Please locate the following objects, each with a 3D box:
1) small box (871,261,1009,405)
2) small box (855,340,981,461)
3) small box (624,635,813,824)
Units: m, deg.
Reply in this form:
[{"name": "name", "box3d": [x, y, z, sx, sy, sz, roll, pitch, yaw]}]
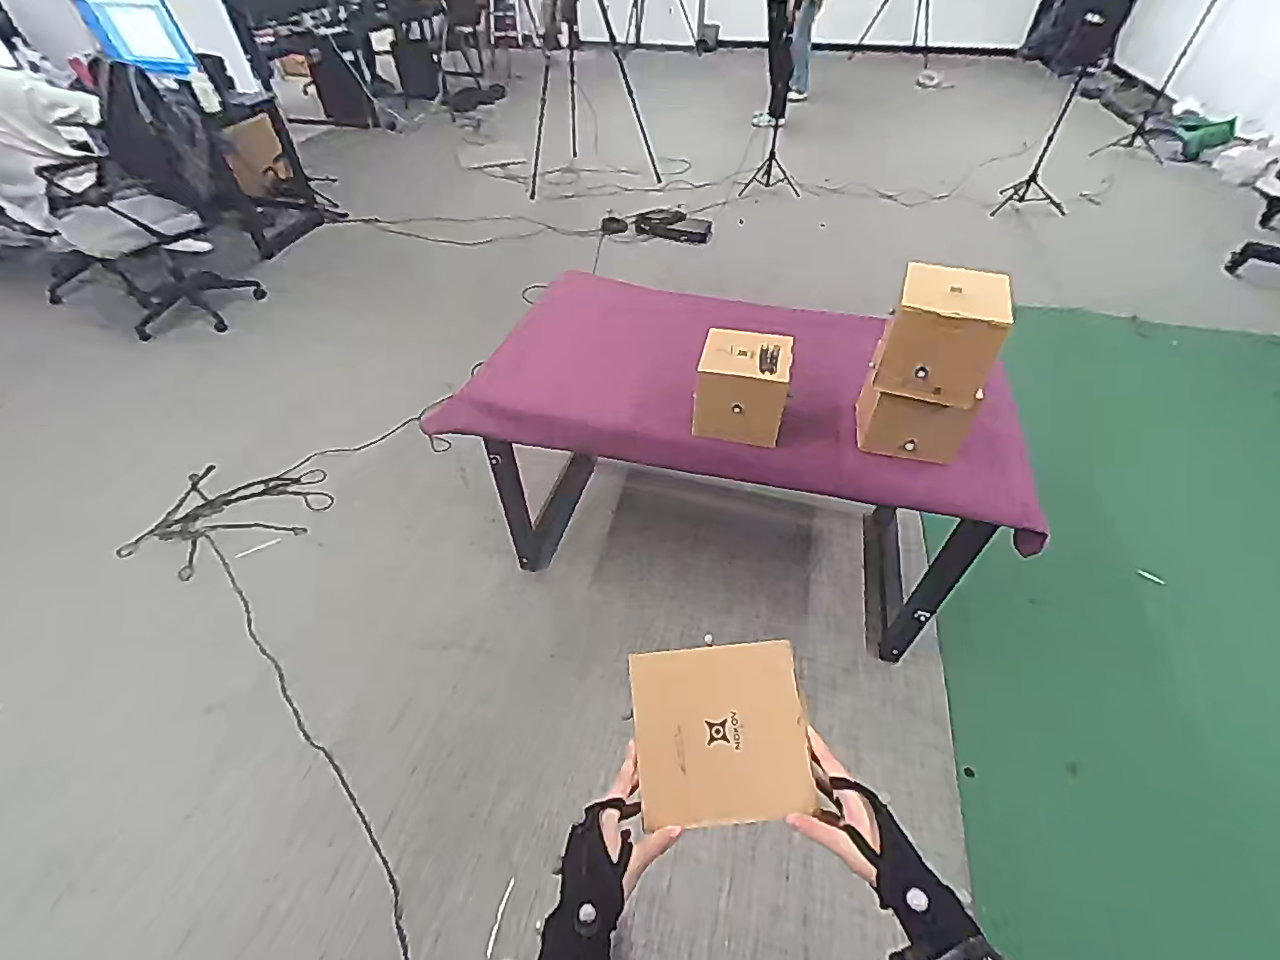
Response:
[{"name": "small box", "box3d": [0.524, -0.262, 0.960, 0.168, 0.176, 0.179, 15, 49, 17]}, {"name": "small box", "box3d": [0.547, -0.159, 1.087, 0.179, 0.176, 0.168, 10, 46, 11]}, {"name": "small box", "box3d": [0.075, 0.272, 0.616, 0.179, 0.176, 0.168, -5, 69, -1]}]
